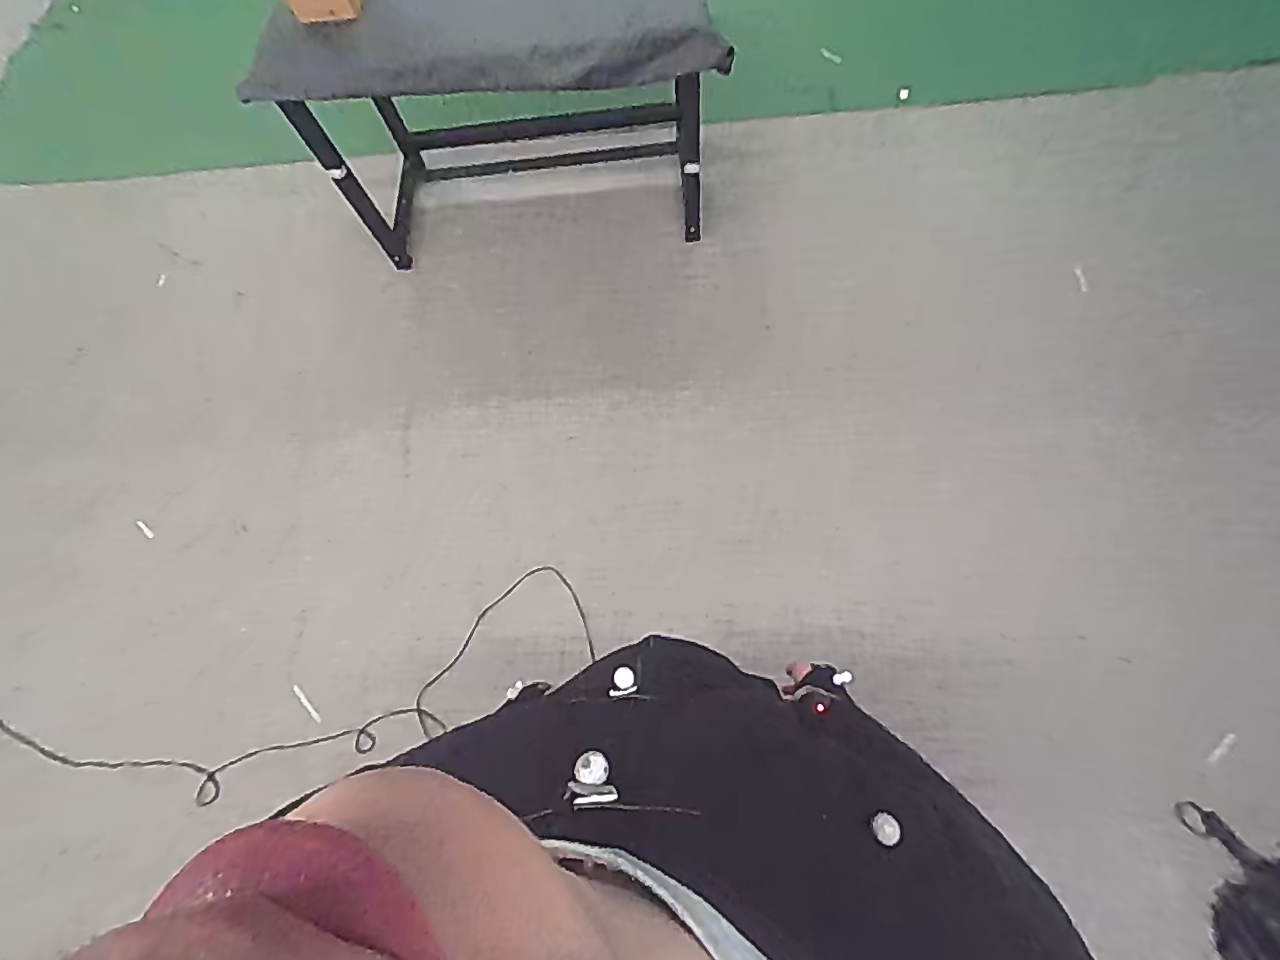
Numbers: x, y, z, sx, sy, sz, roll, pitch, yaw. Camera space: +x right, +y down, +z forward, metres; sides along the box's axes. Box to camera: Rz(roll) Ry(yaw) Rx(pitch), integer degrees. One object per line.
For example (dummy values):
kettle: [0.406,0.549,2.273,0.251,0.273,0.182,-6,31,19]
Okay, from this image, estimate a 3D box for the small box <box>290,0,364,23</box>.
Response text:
small box: [-0.863,-1.371,1.454,0.168,0.176,0.179,-1,70,4]
